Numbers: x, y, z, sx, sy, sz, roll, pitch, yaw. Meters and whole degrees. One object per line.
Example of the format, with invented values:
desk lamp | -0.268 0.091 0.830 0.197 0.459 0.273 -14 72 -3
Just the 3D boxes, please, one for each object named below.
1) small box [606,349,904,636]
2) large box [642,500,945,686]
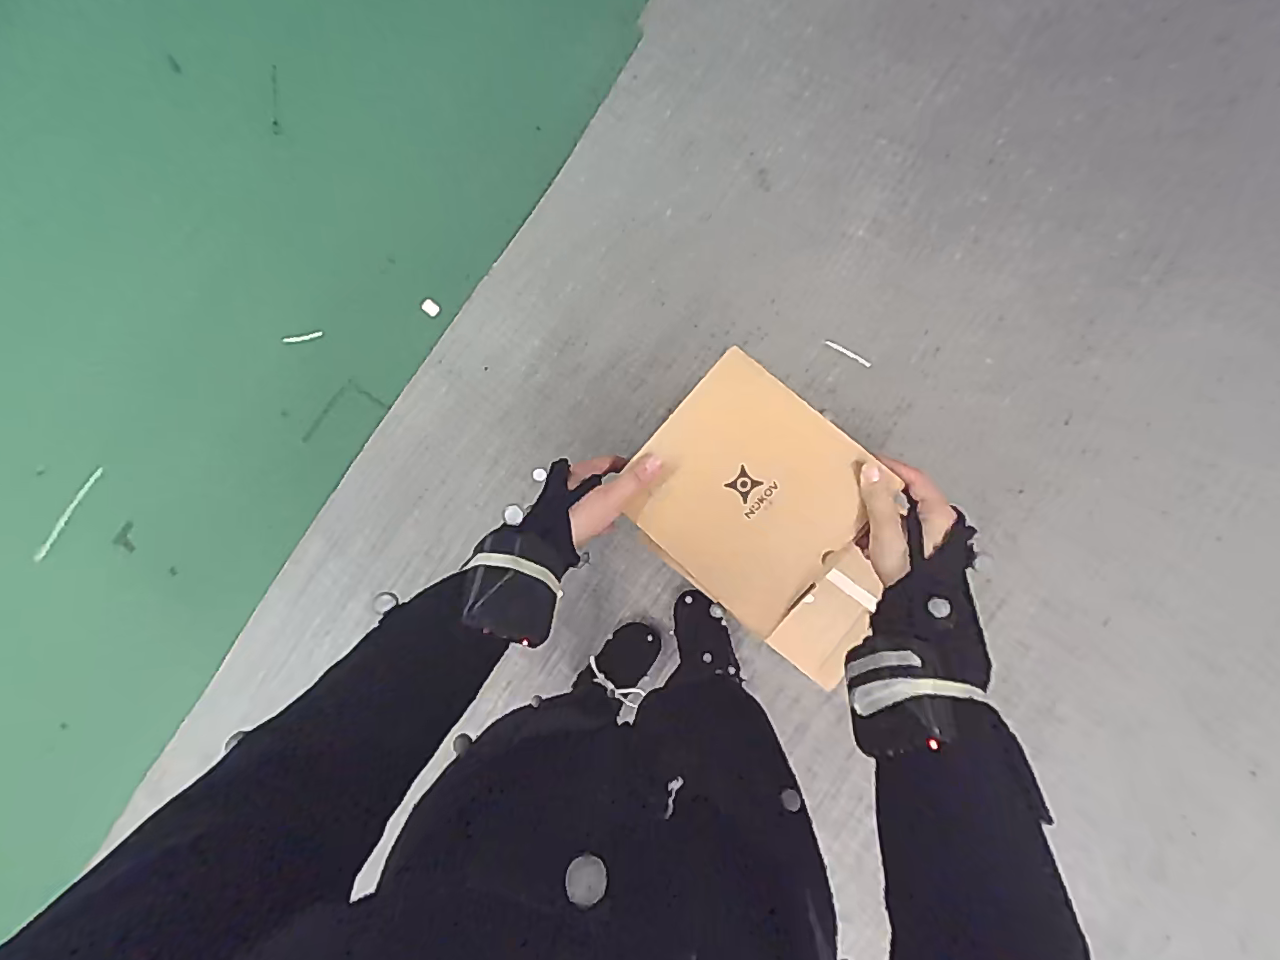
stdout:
small box | 0.097 0.015 0.507 0.179 0.176 0.168 42 91 9
large box | 0.265 0.113 1.046 0.408 0.320 0.320 37 91 10
